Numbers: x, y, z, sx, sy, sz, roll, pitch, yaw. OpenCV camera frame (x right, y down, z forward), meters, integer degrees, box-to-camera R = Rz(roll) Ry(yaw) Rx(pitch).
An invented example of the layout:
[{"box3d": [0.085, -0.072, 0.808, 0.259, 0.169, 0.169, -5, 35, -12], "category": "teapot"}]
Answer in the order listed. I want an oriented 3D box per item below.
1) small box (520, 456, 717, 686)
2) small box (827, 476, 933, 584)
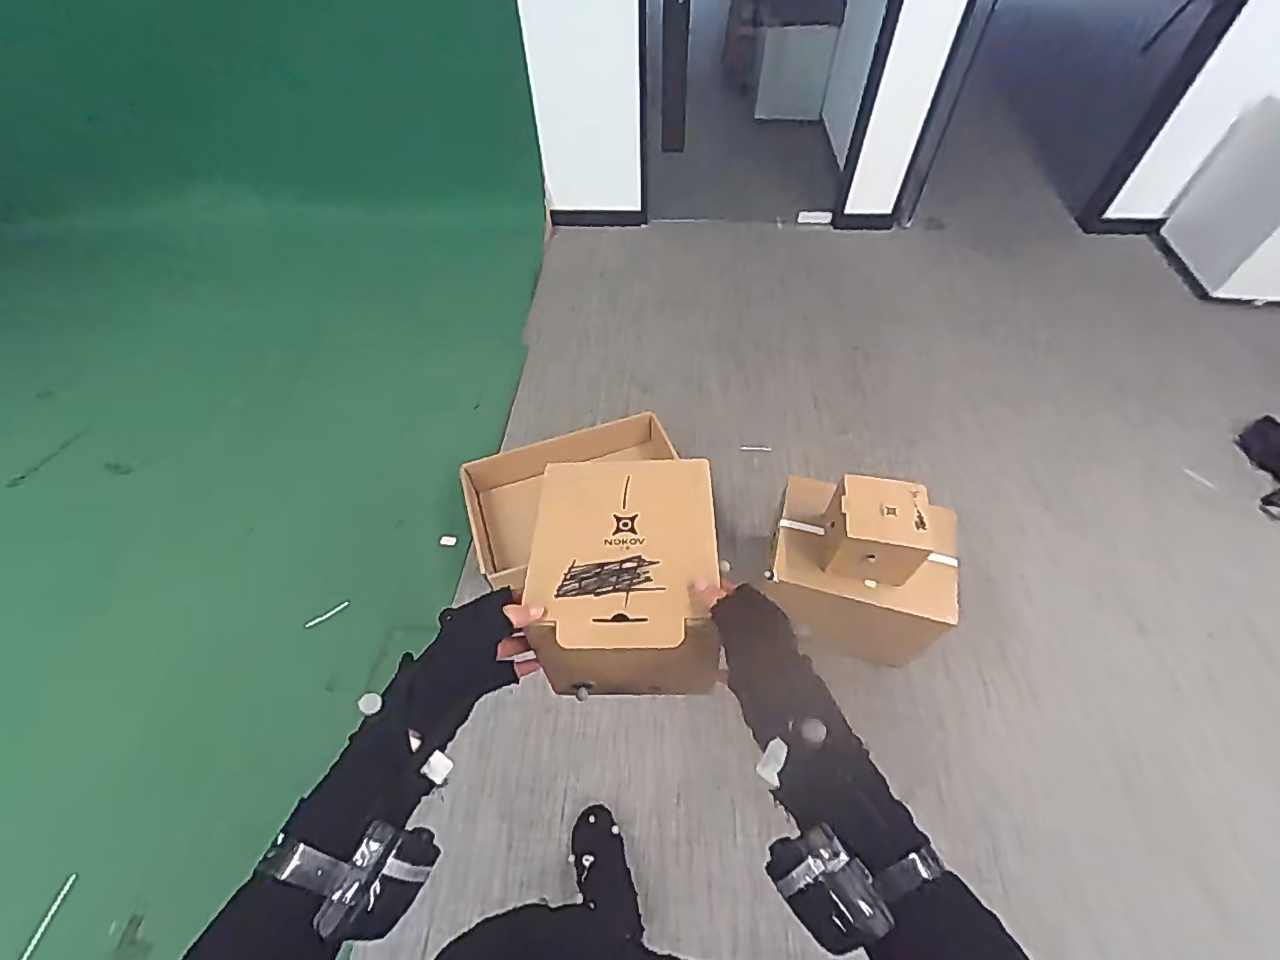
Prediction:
[{"box3d": [-0.010, 0.097, 0.547, 0.168, 0.176, 0.179, -2, 49, 3], "category": "small box"}, {"box3d": [0.518, 0.114, 1.195, 0.179, 0.176, 0.168, 8, 55, 8], "category": "small box"}]
